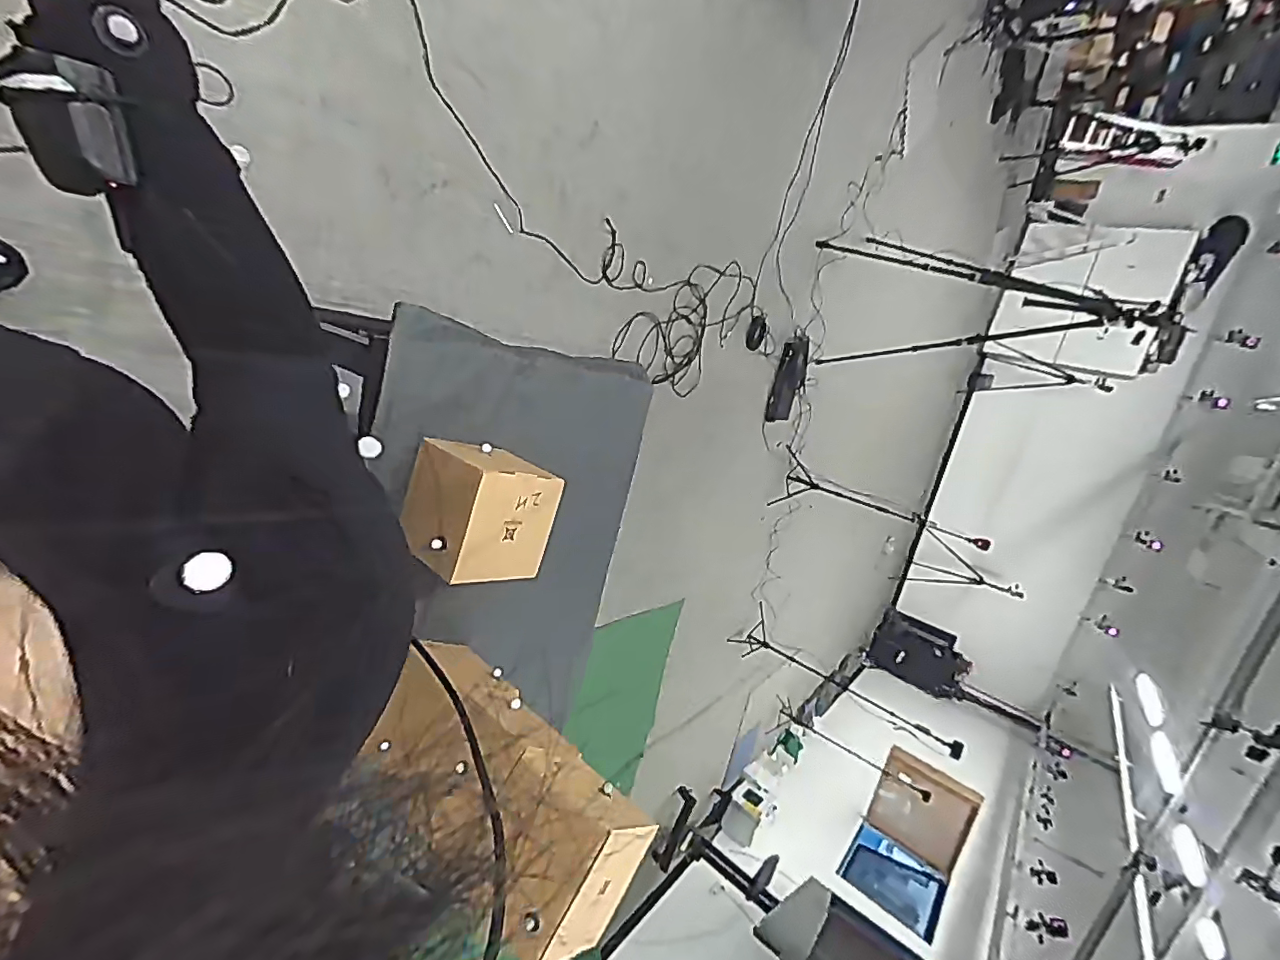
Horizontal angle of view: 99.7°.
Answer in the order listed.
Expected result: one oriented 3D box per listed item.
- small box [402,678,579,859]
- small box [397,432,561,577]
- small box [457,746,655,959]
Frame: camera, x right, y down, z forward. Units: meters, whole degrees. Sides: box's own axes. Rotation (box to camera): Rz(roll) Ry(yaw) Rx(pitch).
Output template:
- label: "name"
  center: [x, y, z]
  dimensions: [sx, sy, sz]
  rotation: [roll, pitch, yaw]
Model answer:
- label: "small box"
  center: [-0.235, 0.440, 0.838]
  dimensions: [0.179, 0.176, 0.168]
  rotation: [-58, 145, -14]
- label: "small box"
  center: [-0.261, 0.038, 0.866]
  dimensions: [0.168, 0.176, 0.179]
  rotation: [8, 102, -54]
- label: "small box"
  center: [-0.114, 0.495, 0.744]
  dimensions: [0.179, 0.176, 0.168]
  rotation: [-58, 145, -13]
